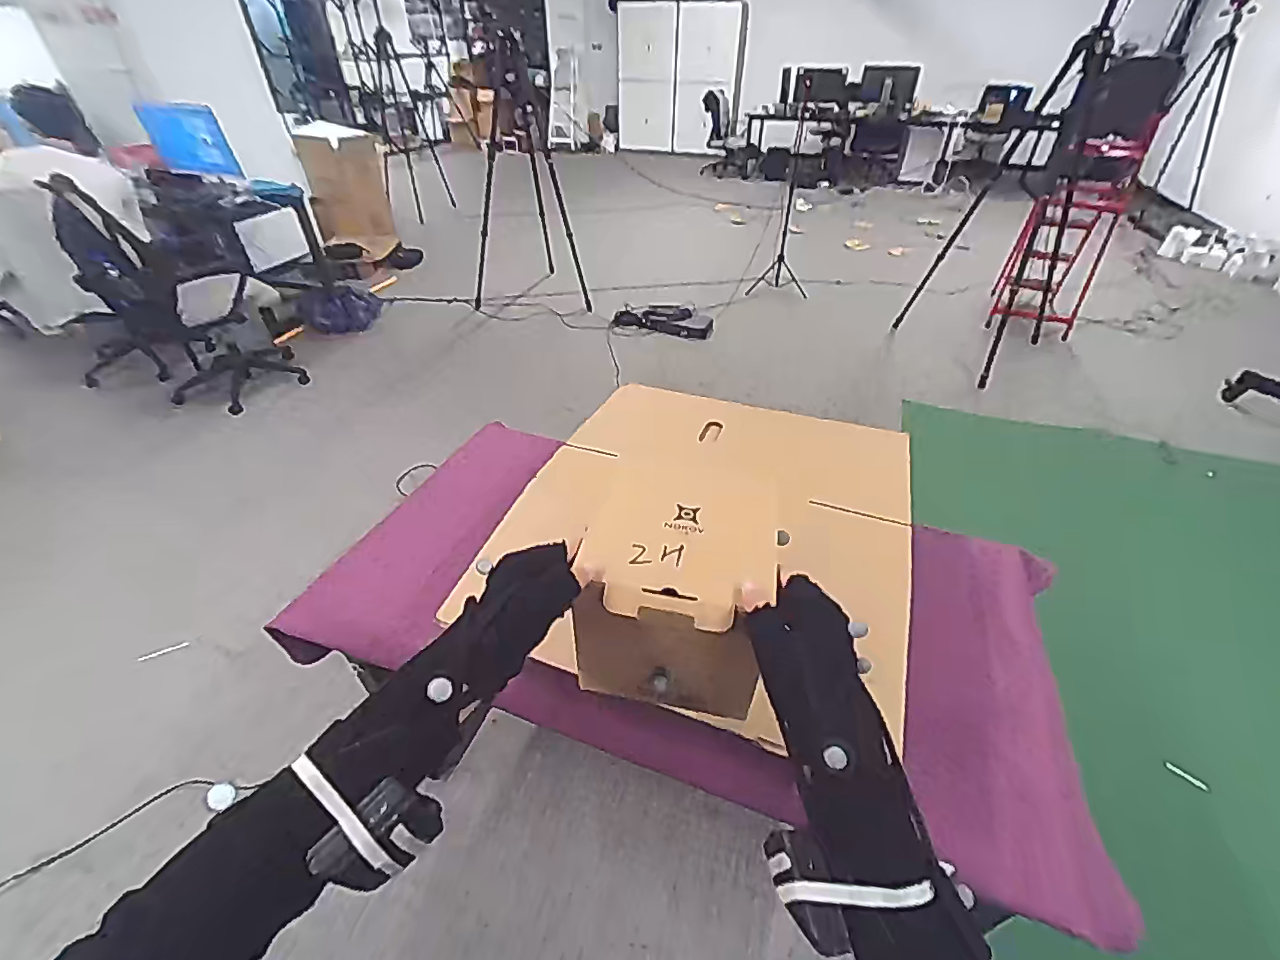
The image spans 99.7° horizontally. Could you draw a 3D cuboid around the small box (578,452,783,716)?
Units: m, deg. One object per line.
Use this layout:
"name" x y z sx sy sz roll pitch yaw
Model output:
"small box" 0.042 0.099 0.539 0.168 0.176 0.179 9 40 8
